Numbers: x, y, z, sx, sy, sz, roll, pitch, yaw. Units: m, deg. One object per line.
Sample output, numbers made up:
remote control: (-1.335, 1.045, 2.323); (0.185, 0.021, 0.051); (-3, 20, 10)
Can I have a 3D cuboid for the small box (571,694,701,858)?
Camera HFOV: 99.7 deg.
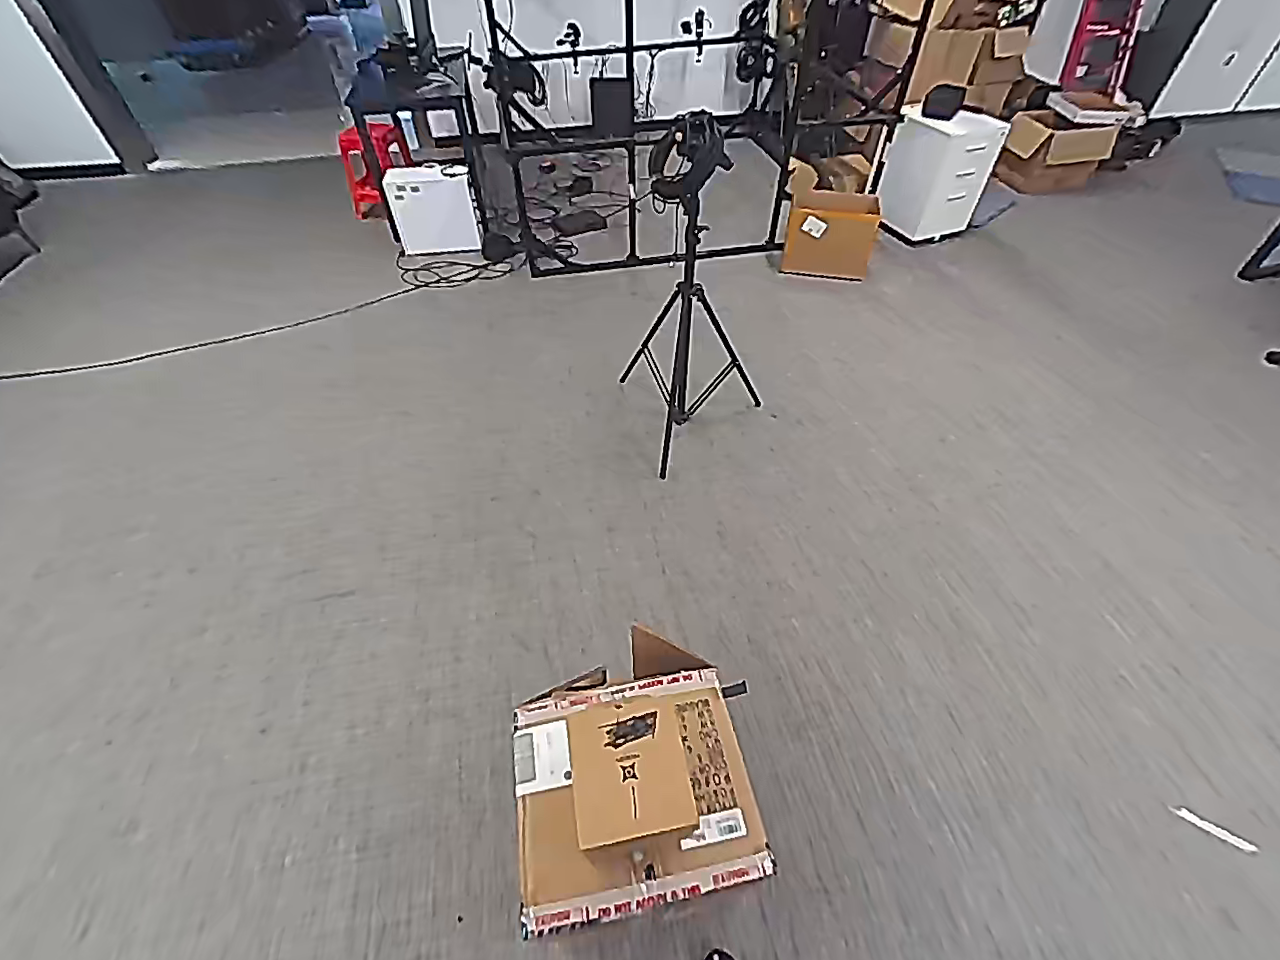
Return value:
small box: (-0.012, 0.457, 0.834); (0.168, 0.176, 0.179); (-9, 52, -6)
